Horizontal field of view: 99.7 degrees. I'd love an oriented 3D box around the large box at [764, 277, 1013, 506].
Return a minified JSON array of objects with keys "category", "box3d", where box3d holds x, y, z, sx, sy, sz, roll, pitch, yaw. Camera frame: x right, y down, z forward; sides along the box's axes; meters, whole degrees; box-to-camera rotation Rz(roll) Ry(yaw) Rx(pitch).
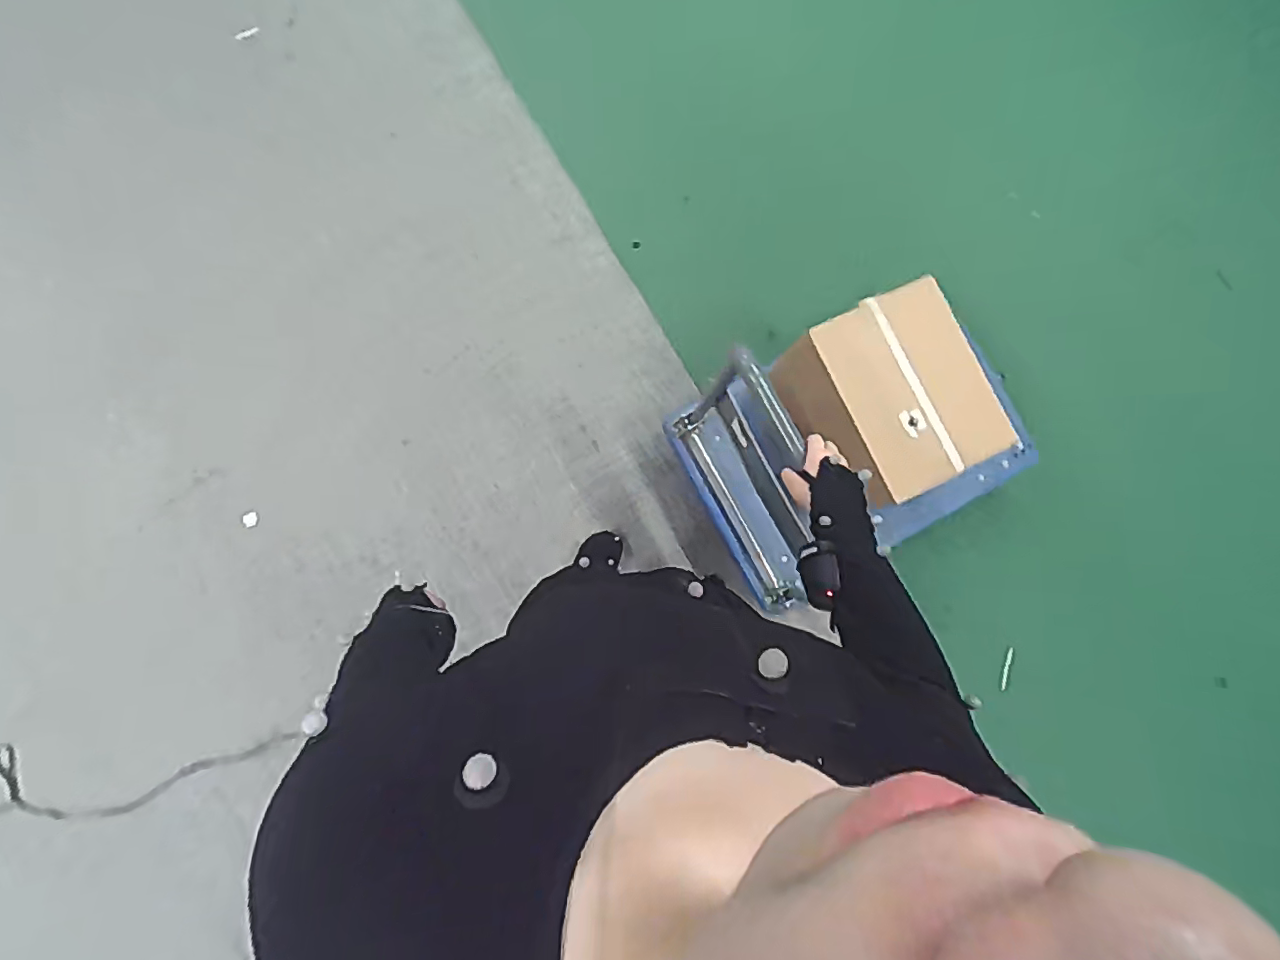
[{"category":"large box","box3d":[0.557,-0.188,1.287,0.320,0.320,0.408,-25,86,-7]}]
